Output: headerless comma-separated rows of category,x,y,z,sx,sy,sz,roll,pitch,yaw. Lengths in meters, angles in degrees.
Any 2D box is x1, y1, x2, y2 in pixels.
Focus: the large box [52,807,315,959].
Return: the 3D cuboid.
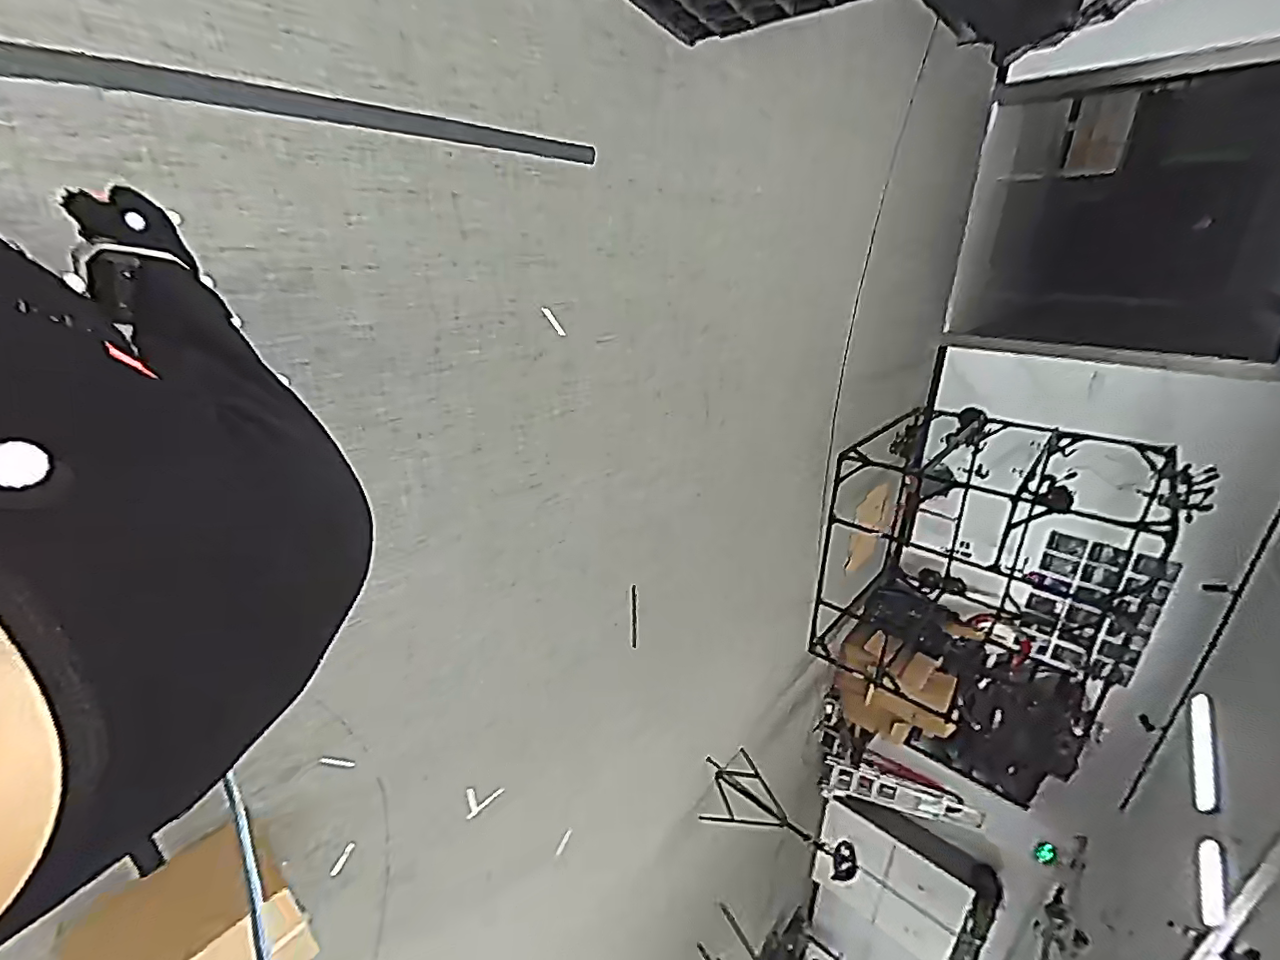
large box,-1.129,1.155,1.368,0.408,0.320,0.320,-27,125,-42
